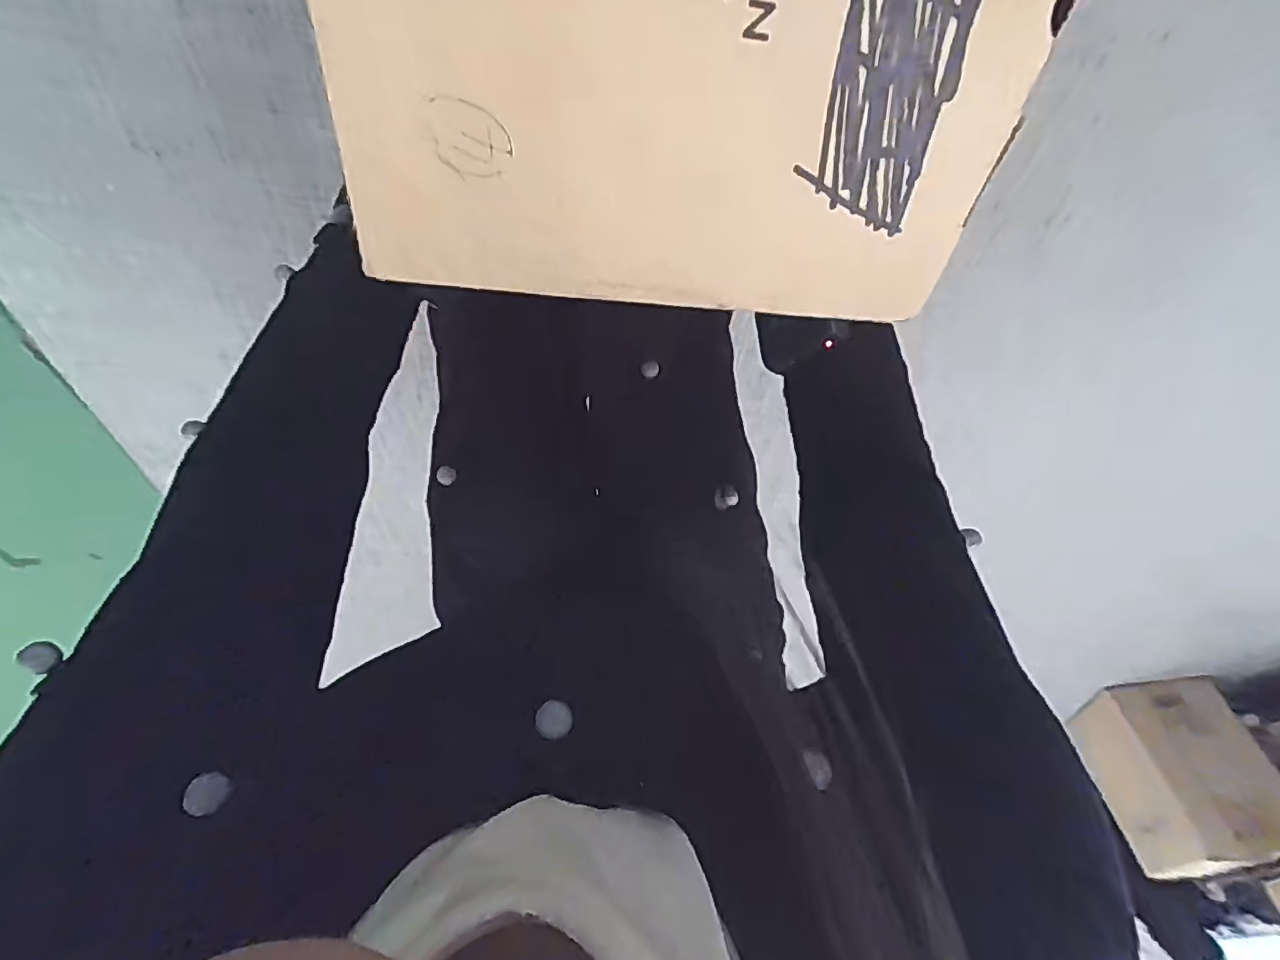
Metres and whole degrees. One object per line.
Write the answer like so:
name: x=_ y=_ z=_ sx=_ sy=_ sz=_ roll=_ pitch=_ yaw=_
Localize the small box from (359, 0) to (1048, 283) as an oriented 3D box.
small box: x=0.012 y=-0.182 z=0.179 sx=0.179 sy=0.176 sz=0.168 roll=-1 pitch=134 yaw=-8
